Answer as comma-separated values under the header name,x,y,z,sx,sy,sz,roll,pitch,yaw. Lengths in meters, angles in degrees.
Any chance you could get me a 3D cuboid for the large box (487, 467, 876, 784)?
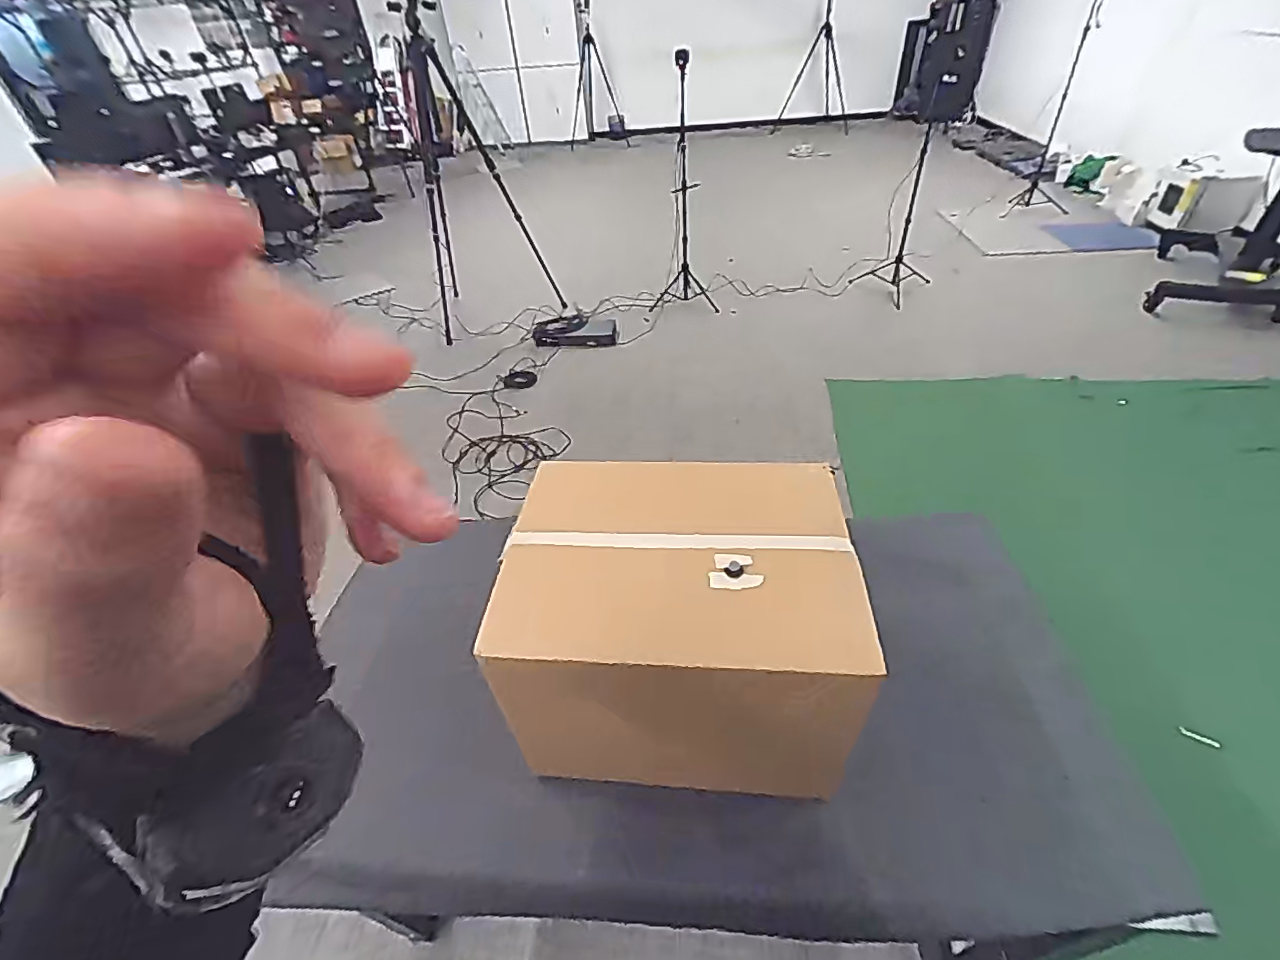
name,x,y,z,sx,sy,sz,roll,pitch,yaw
large box,0.054,0.194,0.751,0.408,0.320,0.320,1,42,6
